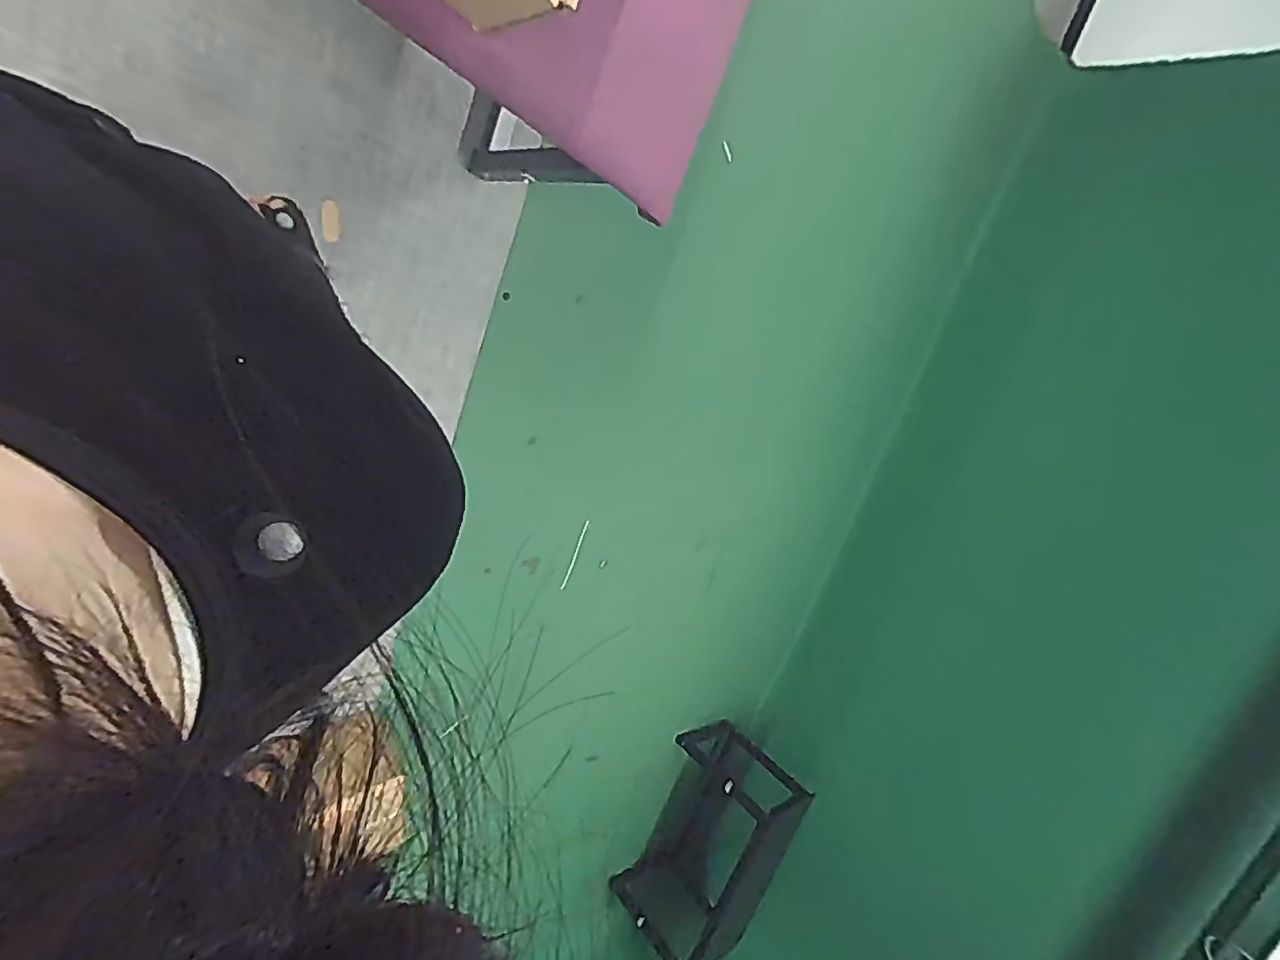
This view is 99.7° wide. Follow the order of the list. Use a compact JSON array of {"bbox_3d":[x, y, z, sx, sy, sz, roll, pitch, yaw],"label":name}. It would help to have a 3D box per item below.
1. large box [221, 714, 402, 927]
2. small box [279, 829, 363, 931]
[{"bbox_3d":[-0.987,1.001,1.646,0.408,0.320,0.320,-10,120,-43],"label":"large box"},{"bbox_3d":[-0.857,1.083,1.452,0.168,0.176,0.179,-8,117,-42],"label":"small box"}]
